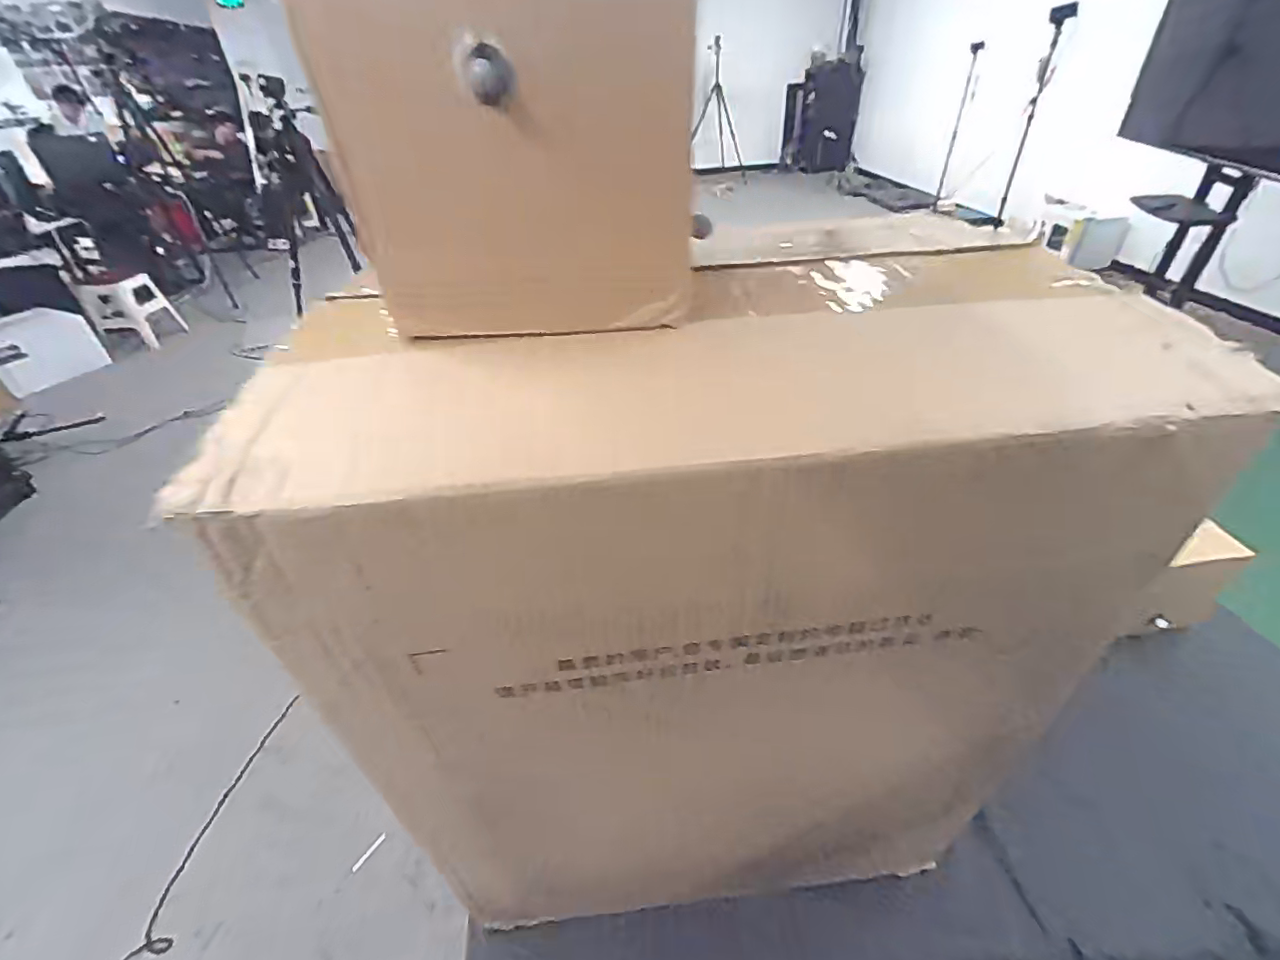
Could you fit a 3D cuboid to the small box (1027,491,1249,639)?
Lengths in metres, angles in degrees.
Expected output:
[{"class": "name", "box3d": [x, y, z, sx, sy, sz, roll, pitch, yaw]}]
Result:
[{"class": "small box", "box3d": [0.798, 0.139, 0.892, 0.179, 0.176, 0.168, -6, 38, -4]}]

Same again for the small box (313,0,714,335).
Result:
[{"class": "small box", "box3d": [-0.051, -0.200, 0.331, 0.179, 0.176, 0.168, 0, 43, 0]}]
